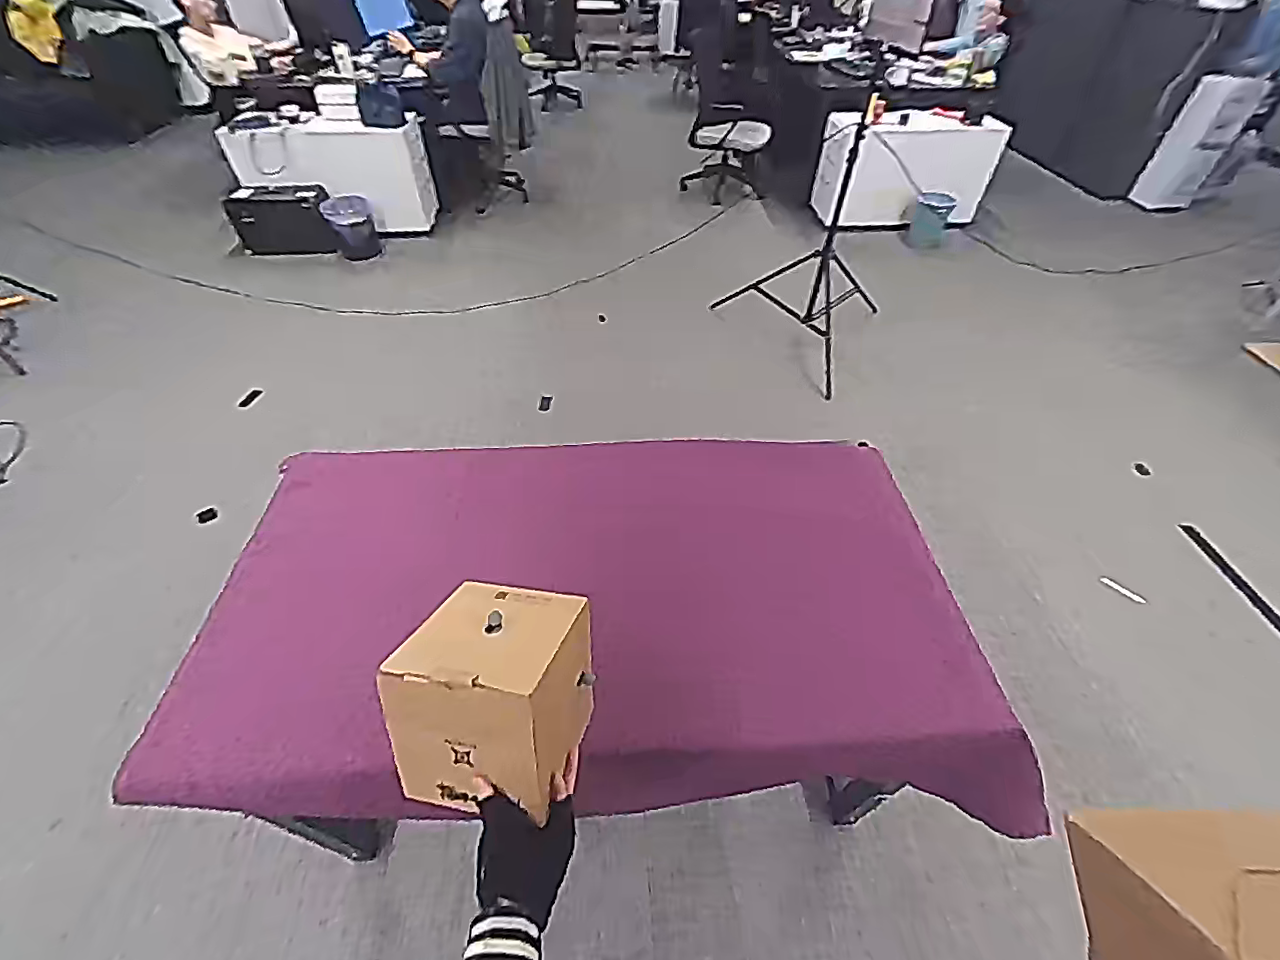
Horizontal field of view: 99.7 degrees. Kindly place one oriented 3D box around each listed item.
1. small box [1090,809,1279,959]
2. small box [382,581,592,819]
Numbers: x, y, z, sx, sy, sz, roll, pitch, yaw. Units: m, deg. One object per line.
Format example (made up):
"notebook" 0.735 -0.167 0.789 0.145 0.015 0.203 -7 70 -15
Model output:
"small box" 0.370 0.286 0.269 0.168 0.179 0.176 -7 78 16
"small box" -0.157 0.233 0.614 0.168 0.179 0.176 4 20 13
